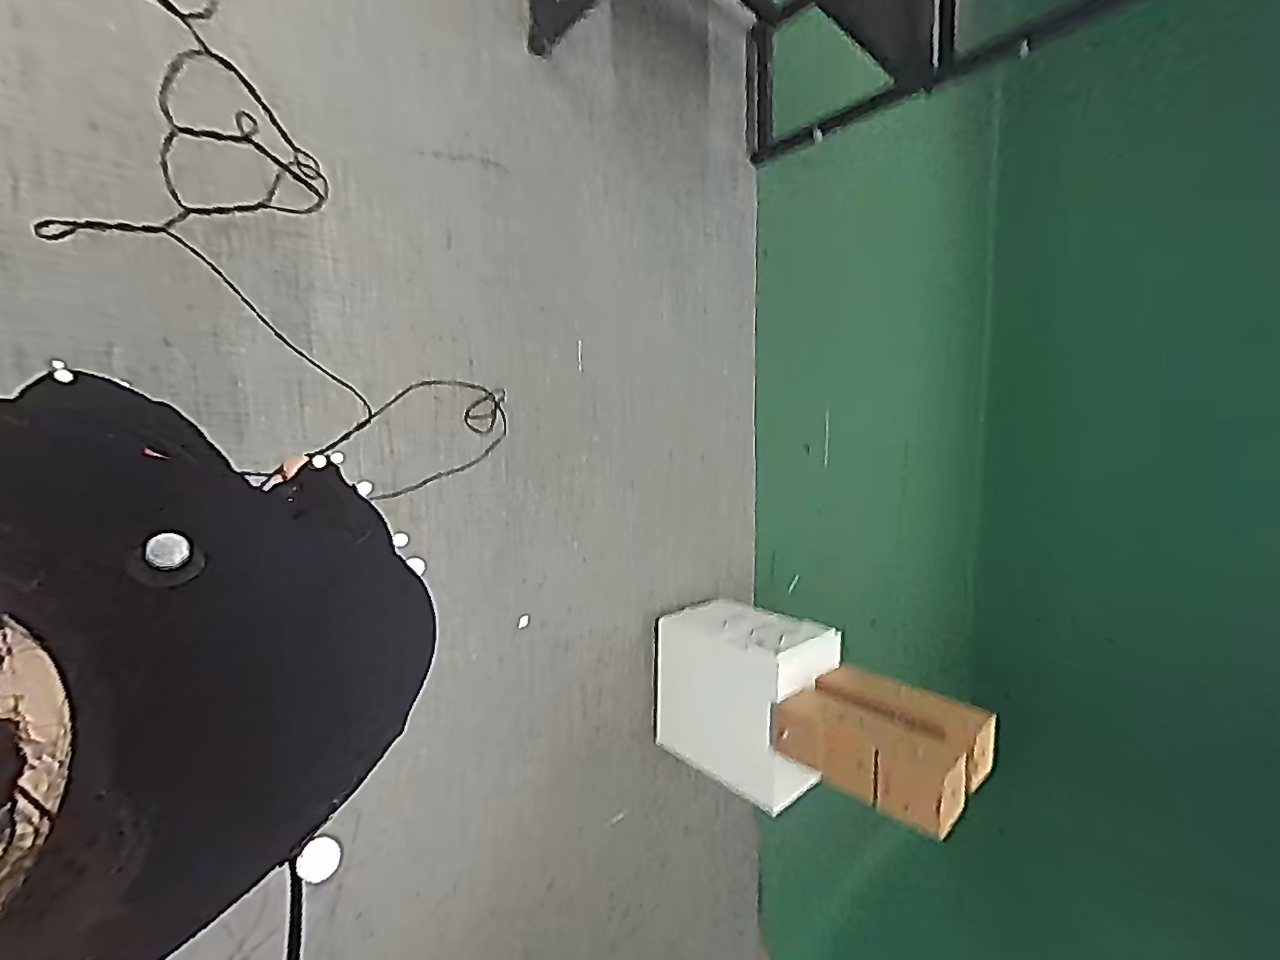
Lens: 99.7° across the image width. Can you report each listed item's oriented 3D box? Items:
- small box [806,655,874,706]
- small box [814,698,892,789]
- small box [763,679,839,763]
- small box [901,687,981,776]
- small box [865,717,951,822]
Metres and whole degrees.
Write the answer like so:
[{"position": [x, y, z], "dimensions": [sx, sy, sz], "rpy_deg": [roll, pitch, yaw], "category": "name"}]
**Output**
[{"position": [0.698, 0.735, 1.898], "dimensions": [0.179, 0.176, 0.168], "rpy_deg": [-3, 96, -42], "category": "small box"}, {"position": [0.635, 0.775, 1.618], "dimensions": [0.168, 0.176, 0.179], "rpy_deg": [-8, 99, -42], "category": "small box"}, {"position": [0.516, 0.761, 1.733], "dimensions": [0.179, 0.176, 0.168], "rpy_deg": [-4, 96, -43], "category": "small box"}, {"position": [0.918, 0.759, 1.657], "dimensions": [0.179, 0.176, 0.168], "rpy_deg": [-4, 97, -41], "category": "small box"}, {"position": [0.739, 0.789, 1.494], "dimensions": [0.179, 0.176, 0.168], "rpy_deg": [-5, 97, -44], "category": "small box"}]
